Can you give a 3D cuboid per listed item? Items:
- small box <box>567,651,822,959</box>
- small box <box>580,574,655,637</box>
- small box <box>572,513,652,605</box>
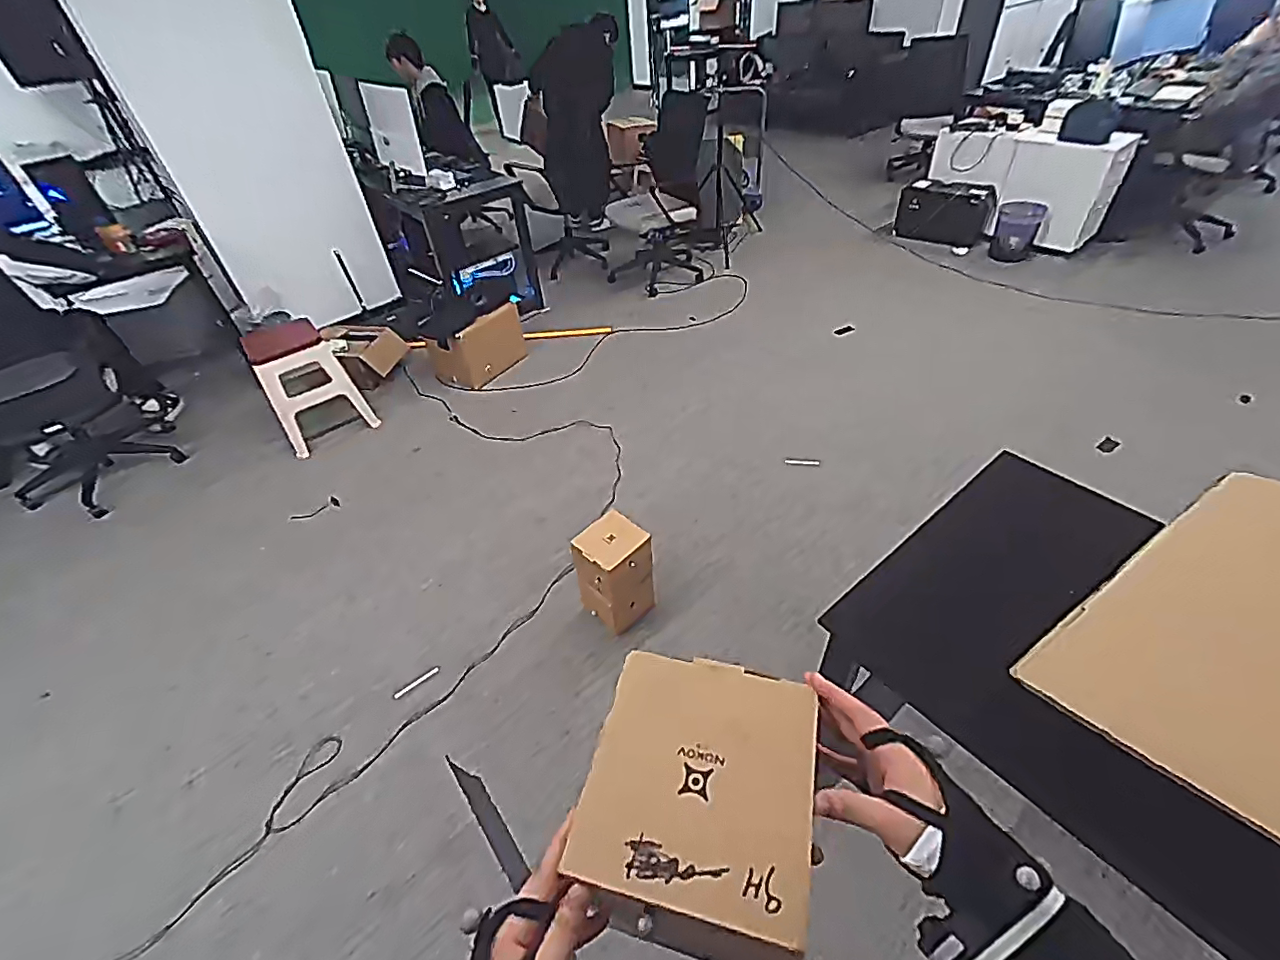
[{"bbox_3d":[0.058,0.279,0.460,0.168,0.176,0.179,5,42,17],"label":"small box"},{"bbox_3d":[-0.067,0.361,1.725,0.179,0.176,0.168,-35,50,-27],"label":"small box"},{"bbox_3d":[-0.076,0.239,1.619,0.168,0.176,0.179,32,53,32],"label":"small box"}]
